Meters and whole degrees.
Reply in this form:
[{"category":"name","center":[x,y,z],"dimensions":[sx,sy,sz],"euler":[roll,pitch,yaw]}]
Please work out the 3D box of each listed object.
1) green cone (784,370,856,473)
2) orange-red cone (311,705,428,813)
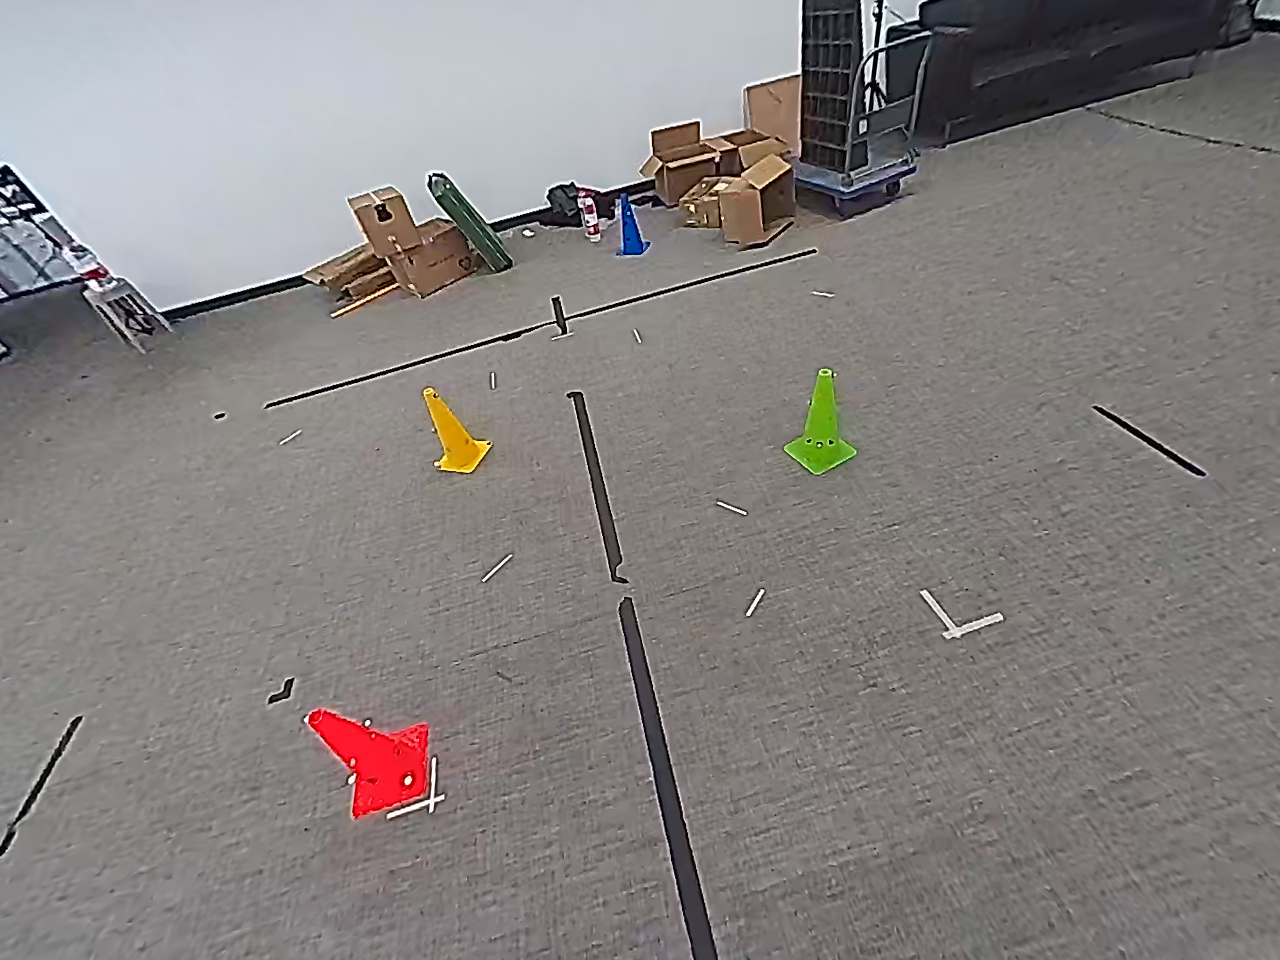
[{"category":"green cone","center":[0.650,-0.234,1.929],"dimensions":[0.200,0.368,0.202],"euler":[-27,46,-13]},{"category":"orange-red cone","center":[-0.708,0.657,1.356],"dimensions":[0.198,0.360,0.199],"euler":[-16,42,-3]}]
